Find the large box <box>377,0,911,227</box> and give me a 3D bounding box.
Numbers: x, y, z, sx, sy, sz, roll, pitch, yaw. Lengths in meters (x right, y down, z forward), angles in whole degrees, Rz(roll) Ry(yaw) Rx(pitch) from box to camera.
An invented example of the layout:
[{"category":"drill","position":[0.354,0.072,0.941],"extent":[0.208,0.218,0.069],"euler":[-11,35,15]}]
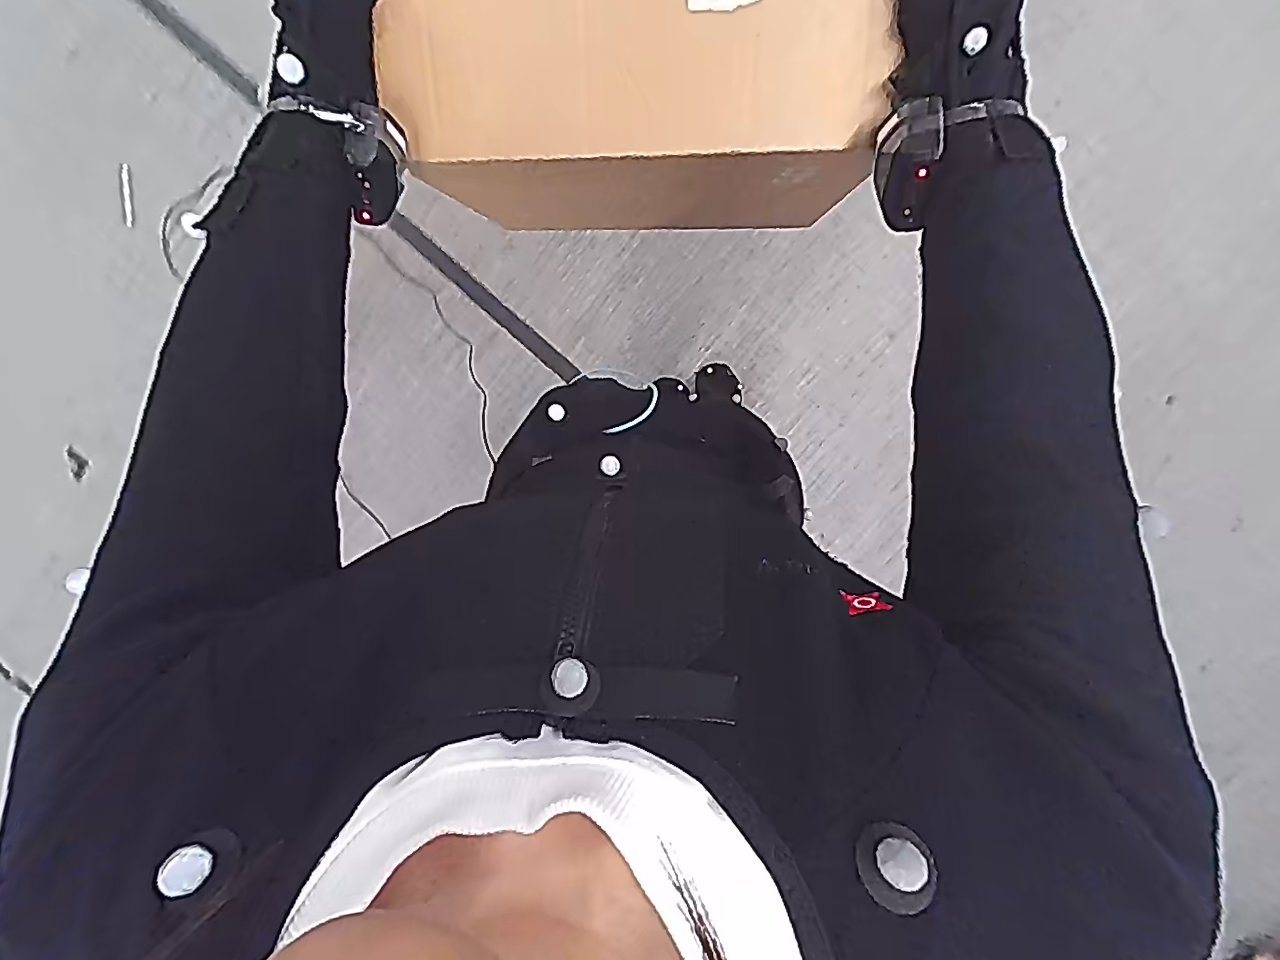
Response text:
[{"category":"large box","position":[0.004,-0.451,0.528],"extent":[0.408,0.320,0.320],"euler":[-1,106,4]}]
